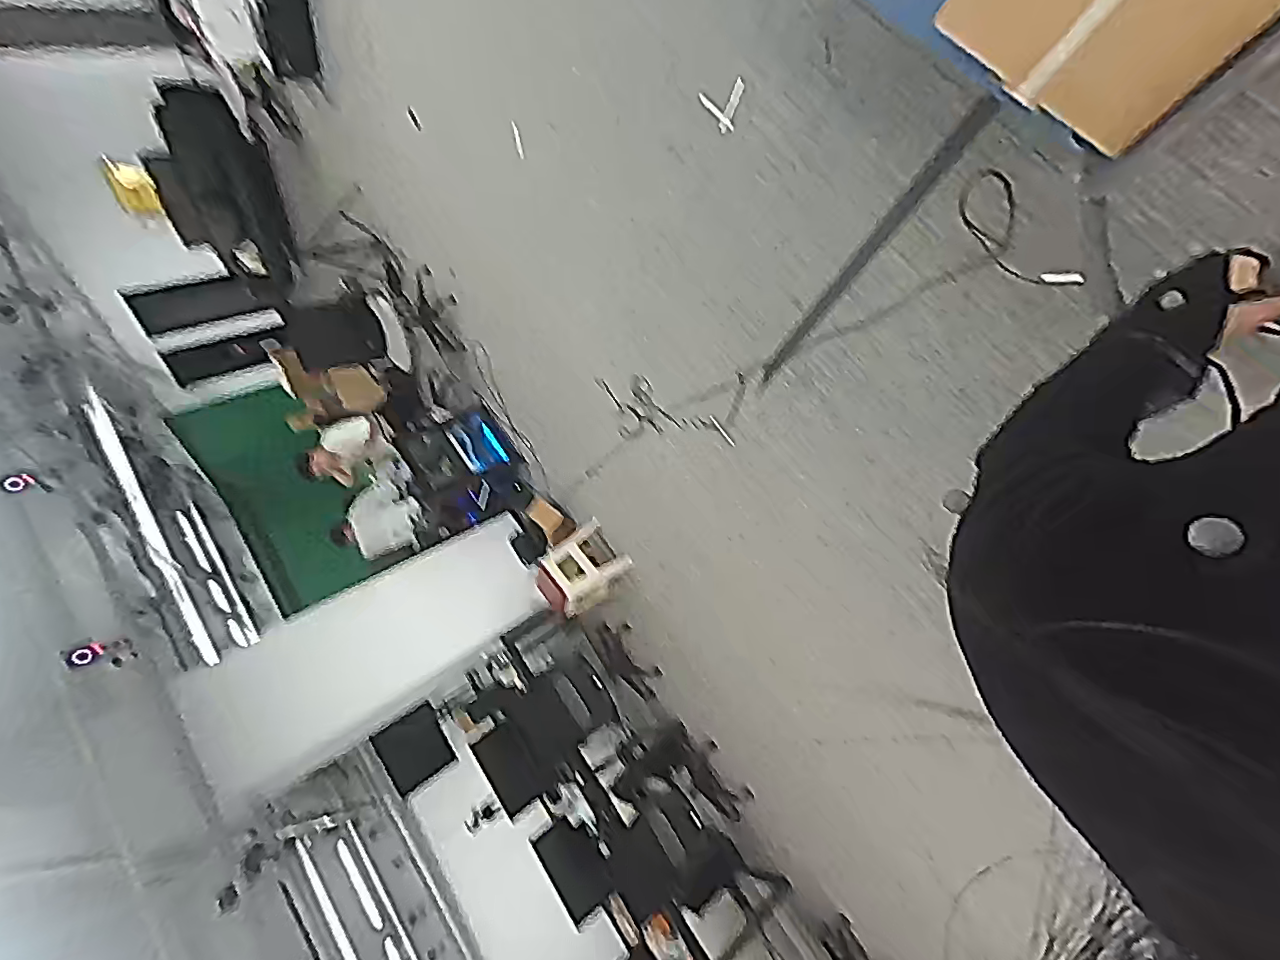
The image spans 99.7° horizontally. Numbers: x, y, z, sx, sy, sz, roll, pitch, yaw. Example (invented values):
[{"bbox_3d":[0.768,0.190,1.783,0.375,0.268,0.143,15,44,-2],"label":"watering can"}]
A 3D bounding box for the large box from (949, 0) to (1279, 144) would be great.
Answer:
[{"bbox_3d":[0.676,-0.729,0.658,0.320,0.320,0.408,36,146,1],"label":"large box"}]
